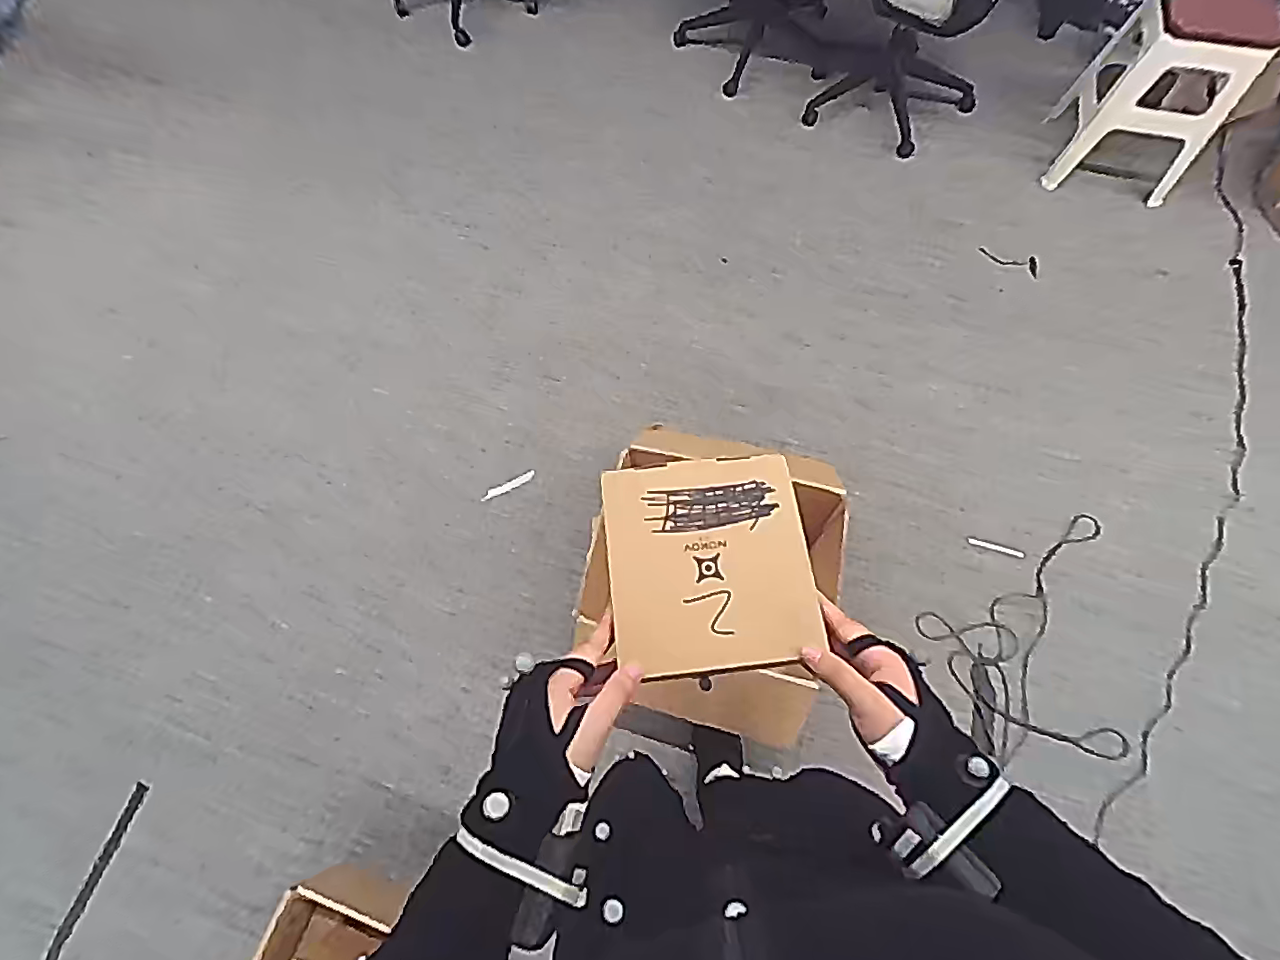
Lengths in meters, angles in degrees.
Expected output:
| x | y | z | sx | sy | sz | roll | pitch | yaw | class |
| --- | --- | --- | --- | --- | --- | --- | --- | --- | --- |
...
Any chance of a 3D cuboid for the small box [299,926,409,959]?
| x | y | z | sx | sy | sz | roll | pitch | yaw | class |
| --- | --- | --- | --- | --- | --- | --- | --- | --- | --- |
| -0.570 | 0.991 | 1.016 | 0.179 | 0.176 | 0.168 | 19 | 71 | 8 | small box |
